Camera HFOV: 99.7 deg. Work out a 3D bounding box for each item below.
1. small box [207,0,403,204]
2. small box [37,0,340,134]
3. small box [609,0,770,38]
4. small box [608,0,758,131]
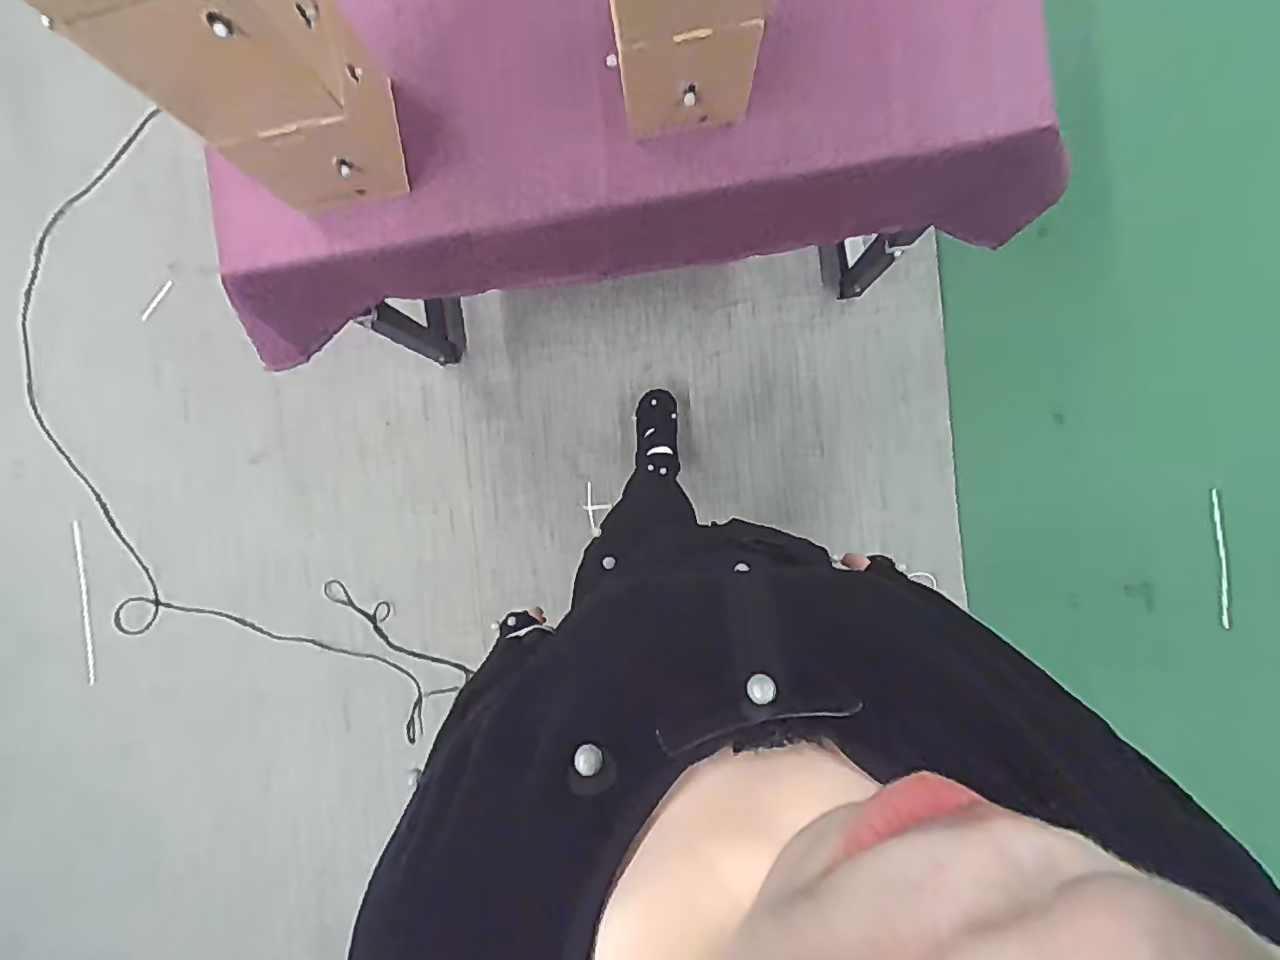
[{"bbox_3d":[-0.434,-0.489,0.708,0.168,0.176,0.179,-10,89,2],"label":"small box"},{"bbox_3d":[-0.446,-0.489,0.546,0.179,0.176,0.168,-12,89,1],"label":"small box"},{"bbox_3d":[0.042,-0.577,0.521,0.179,0.176,0.168,-9,90,3],"label":"small box"},{"bbox_3d":[0.047,-0.578,0.686,0.168,0.176,0.179,-8,90,2],"label":"small box"}]
